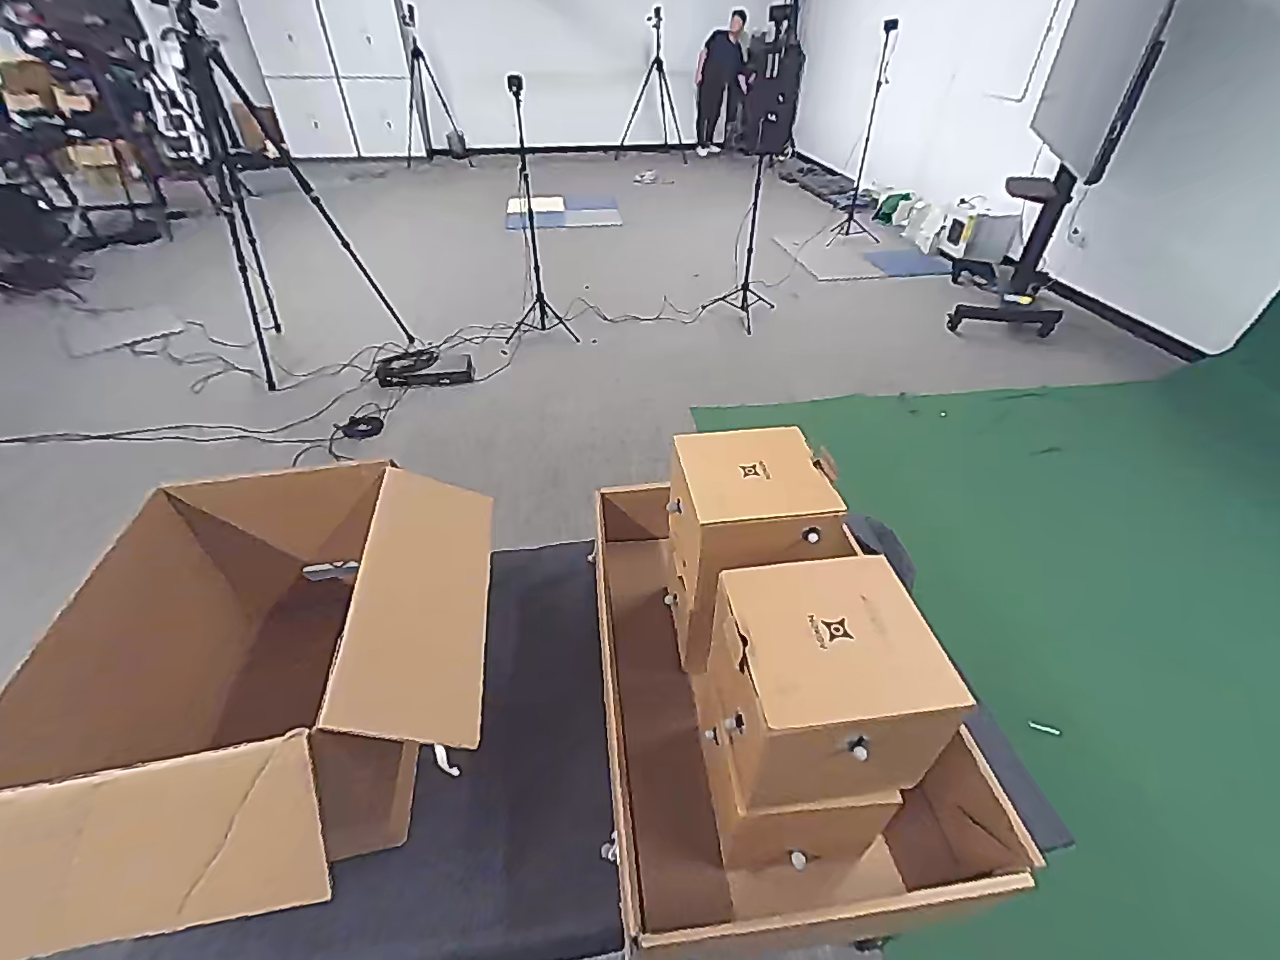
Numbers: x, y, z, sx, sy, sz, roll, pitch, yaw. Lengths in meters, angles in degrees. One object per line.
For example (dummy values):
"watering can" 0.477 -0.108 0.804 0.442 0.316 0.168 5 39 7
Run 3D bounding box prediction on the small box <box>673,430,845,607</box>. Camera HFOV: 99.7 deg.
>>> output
"small box" 0.141 0.053 0.718 0.179 0.176 0.168 -5 42 -6

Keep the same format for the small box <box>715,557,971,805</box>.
"small box" 0.176 0.201 0.541 0.179 0.176 0.168 -5 40 -5
